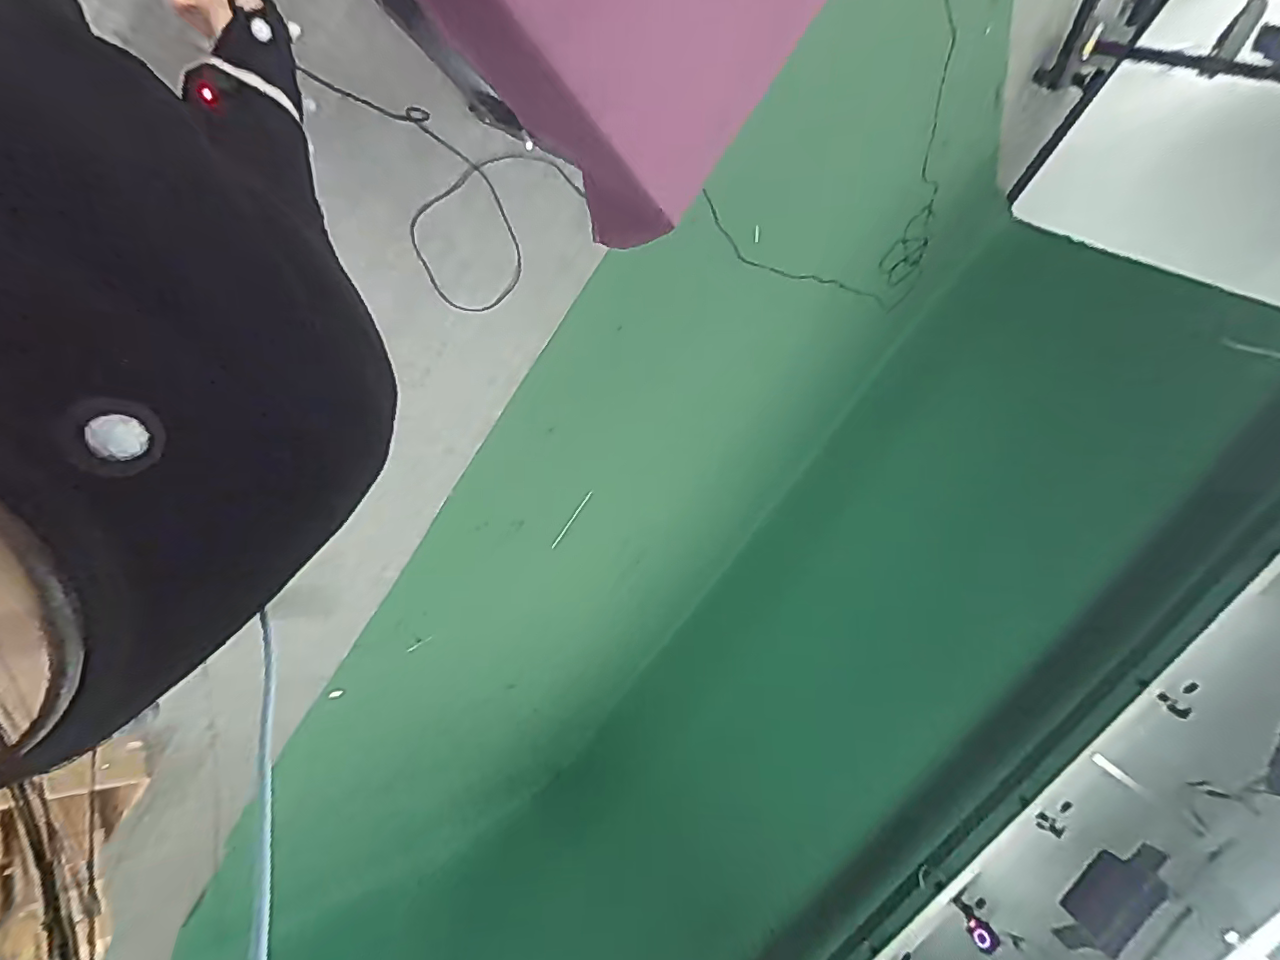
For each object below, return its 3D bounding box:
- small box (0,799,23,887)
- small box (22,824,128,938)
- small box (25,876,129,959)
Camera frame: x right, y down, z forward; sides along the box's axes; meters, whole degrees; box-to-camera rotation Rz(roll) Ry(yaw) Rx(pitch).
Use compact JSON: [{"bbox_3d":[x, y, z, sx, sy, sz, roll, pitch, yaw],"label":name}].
[{"bbox_3d":[-1.841,1.020,1.475,0.179,0.176,0.168,-54,151,8],"label":"small box"},{"bbox_3d":[-1.629,1.141,1.555,0.179,0.176,0.168,15,111,-56],"label":"small box"},{"bbox_3d":[-1.523,1.220,1.459,0.168,0.176,0.179,10,116,-54],"label":"small box"}]
